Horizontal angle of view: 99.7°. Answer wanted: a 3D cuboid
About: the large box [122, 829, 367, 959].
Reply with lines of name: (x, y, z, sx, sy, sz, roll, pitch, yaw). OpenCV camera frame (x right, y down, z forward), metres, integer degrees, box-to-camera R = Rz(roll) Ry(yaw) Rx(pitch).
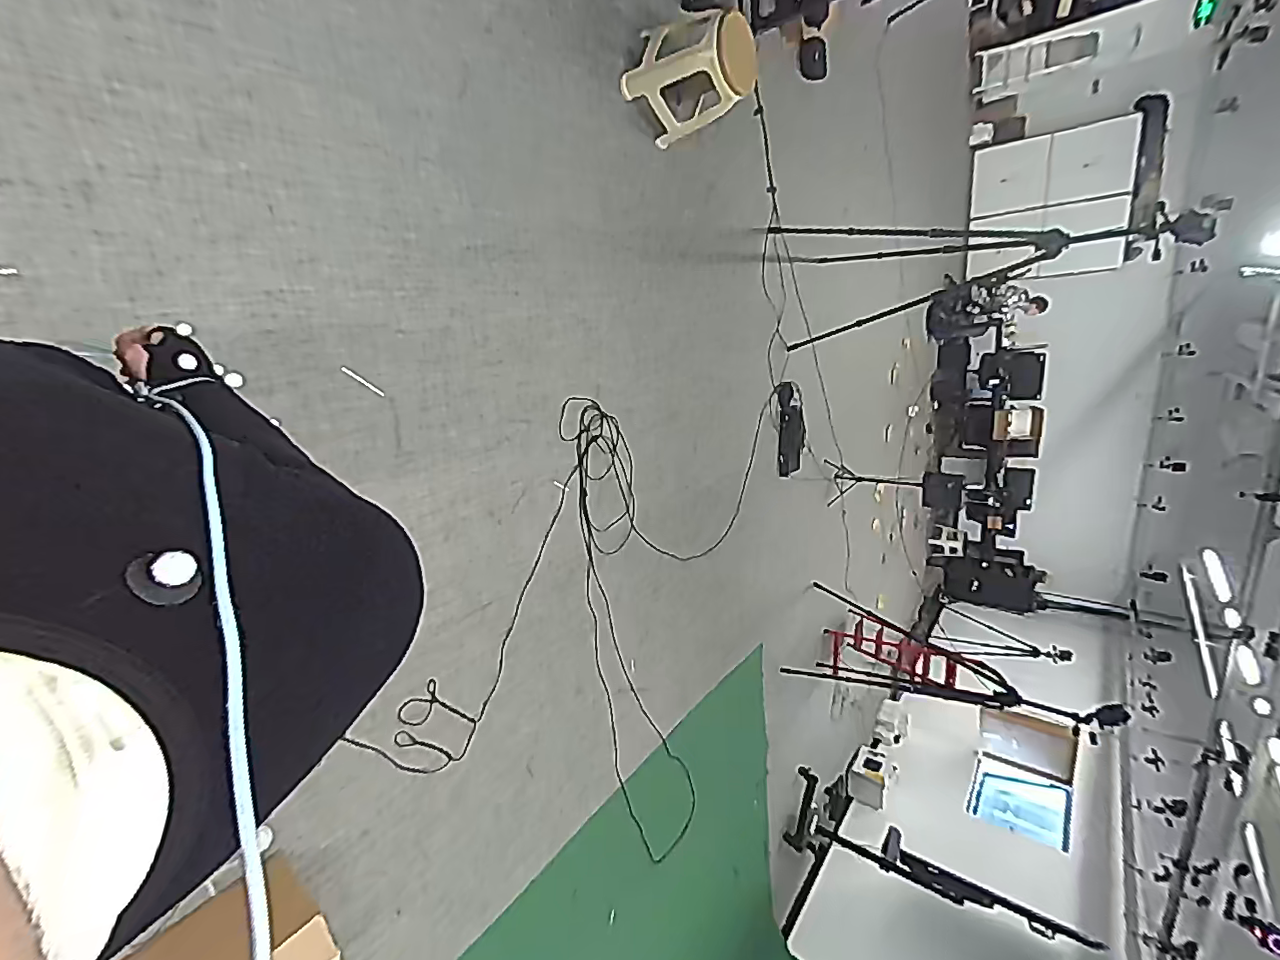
large box: (-1.011, 1.241, 1.407, 0.408, 0.320, 0.320, -26, 115, -45)
